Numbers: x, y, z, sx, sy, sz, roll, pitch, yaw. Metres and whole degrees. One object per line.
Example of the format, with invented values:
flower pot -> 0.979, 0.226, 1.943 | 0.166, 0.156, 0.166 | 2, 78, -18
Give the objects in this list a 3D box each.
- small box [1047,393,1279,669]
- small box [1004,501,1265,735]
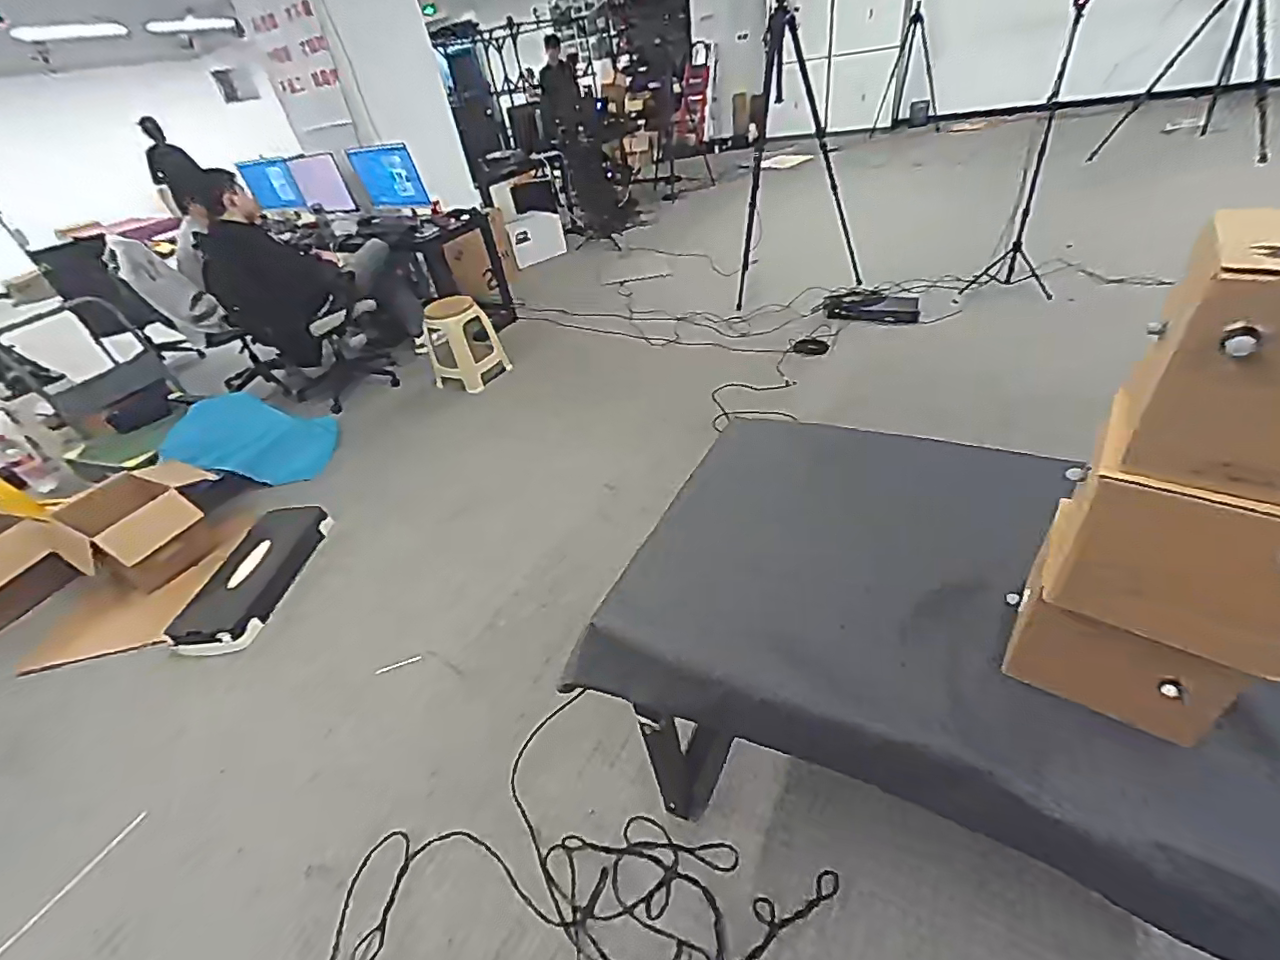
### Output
small box -> 0.519, 0.042, 0.509 | 0.179, 0.176, 0.168 | 21, 47, 34
small box -> 0.553, 0.157, 0.621 | 0.179, 0.176, 0.168 | 18, 45, 34
